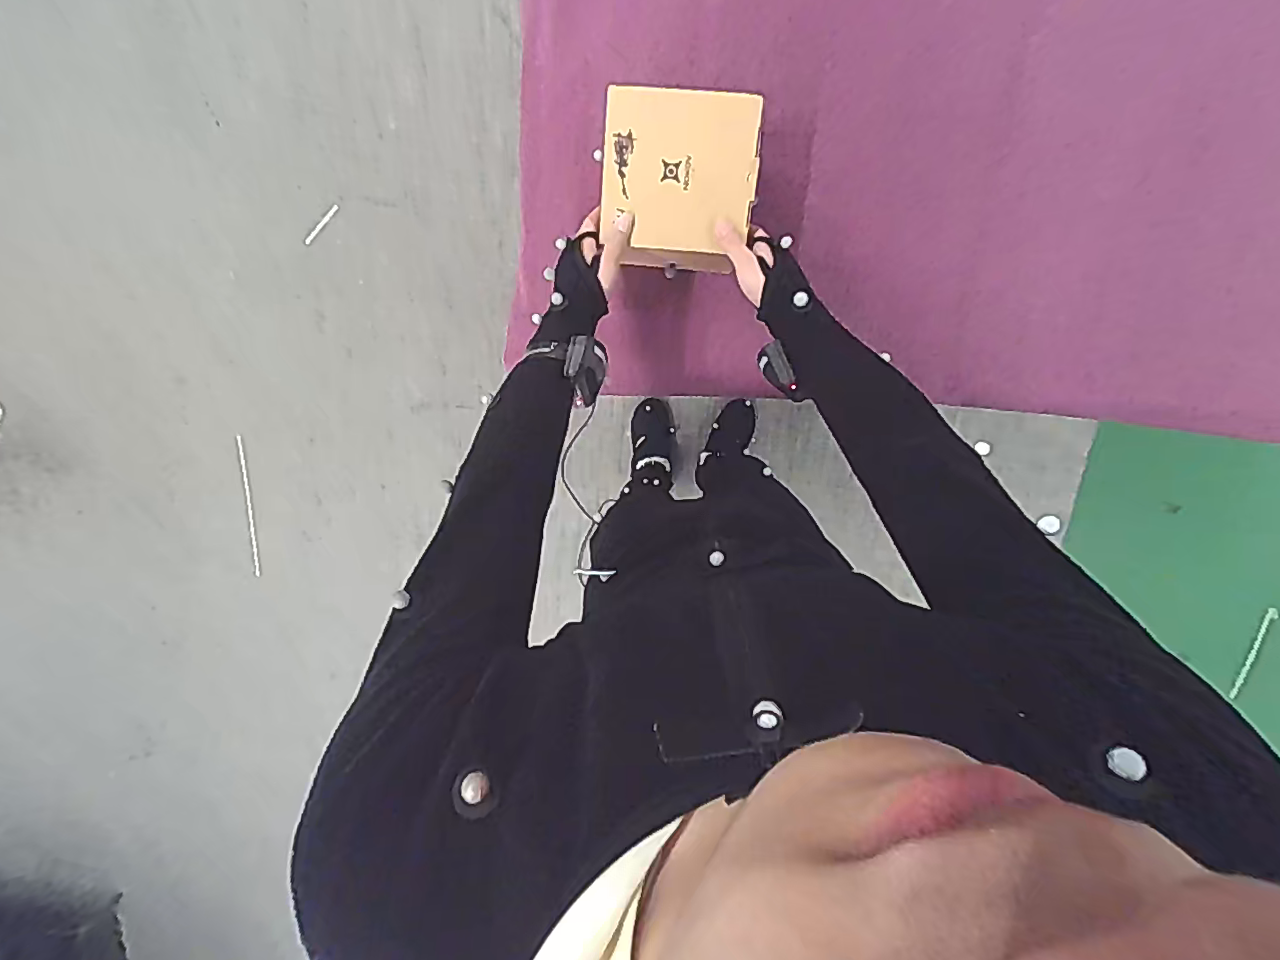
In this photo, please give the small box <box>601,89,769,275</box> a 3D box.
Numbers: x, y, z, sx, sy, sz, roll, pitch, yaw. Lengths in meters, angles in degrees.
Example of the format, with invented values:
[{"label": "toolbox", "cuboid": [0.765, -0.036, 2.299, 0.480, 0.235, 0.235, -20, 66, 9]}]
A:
[{"label": "small box", "cuboid": [0.050, -0.362, 0.688, 0.179, 0.176, 0.168, 6, 104, 1]}]
